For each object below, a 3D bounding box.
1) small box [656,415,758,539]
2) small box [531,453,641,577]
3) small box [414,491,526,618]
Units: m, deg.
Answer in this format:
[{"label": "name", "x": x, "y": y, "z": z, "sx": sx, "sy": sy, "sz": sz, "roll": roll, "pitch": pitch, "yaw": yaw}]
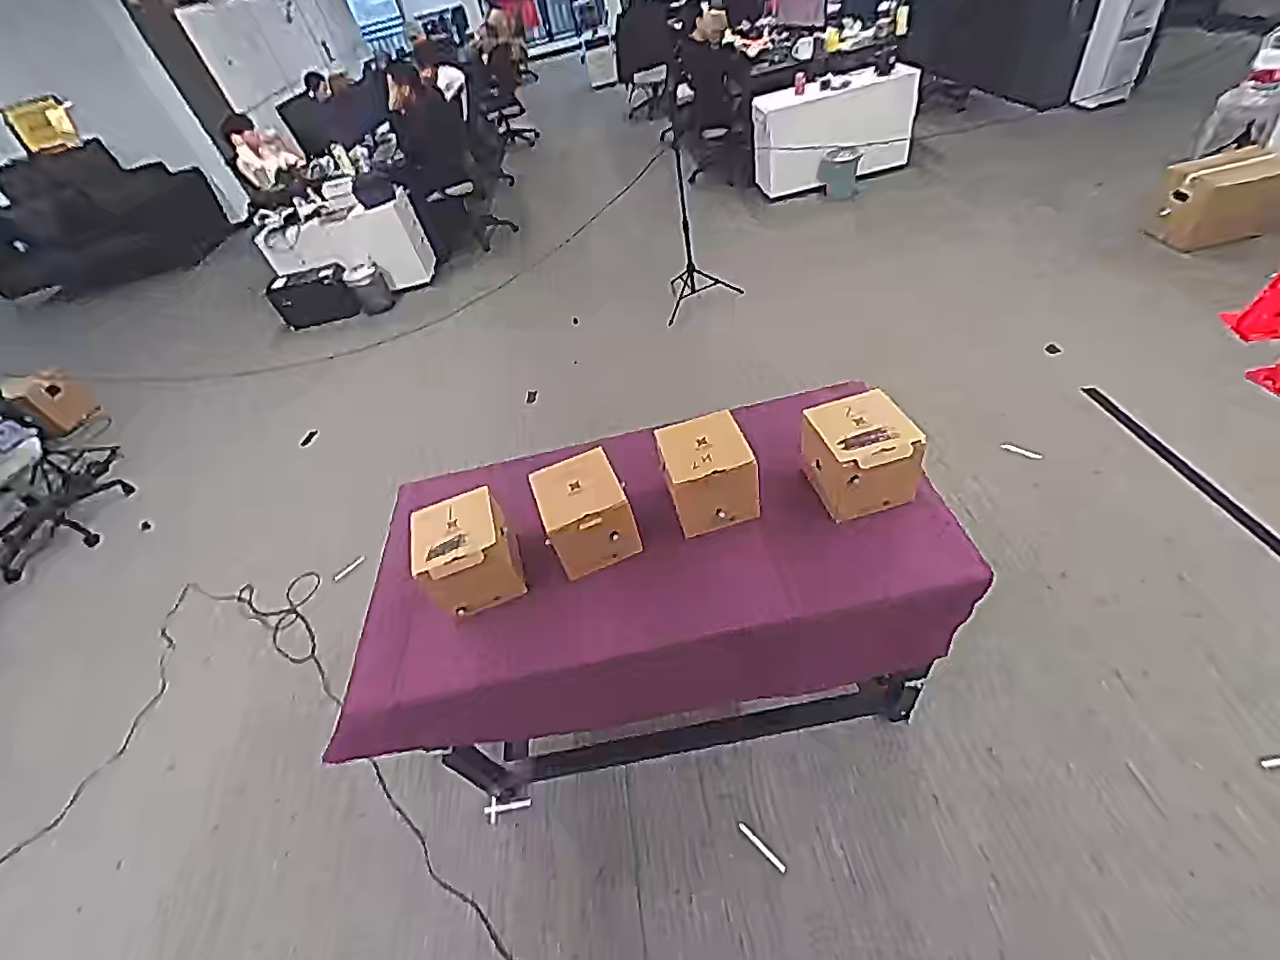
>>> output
[{"label": "small box", "x": 0.142, "y": -0.005, "z": 1.144, "sx": 0.168, "sy": 0.176, "sz": 0.179, "roll": -17, "pitch": 45, "yaw": 0}, {"label": "small box", "x": -0.109, "y": 0.080, "z": 1.133, "sx": 0.168, "sy": 0.176, "sz": 0.179, "roll": -22, "pitch": 45, "yaw": -7}, {"label": "small box", "x": -0.347, "y": 0.161, "z": 1.116, "sx": 0.168, "sy": 0.176, "sz": 0.179, "roll": -21, "pitch": 44, "yaw": -6}]
